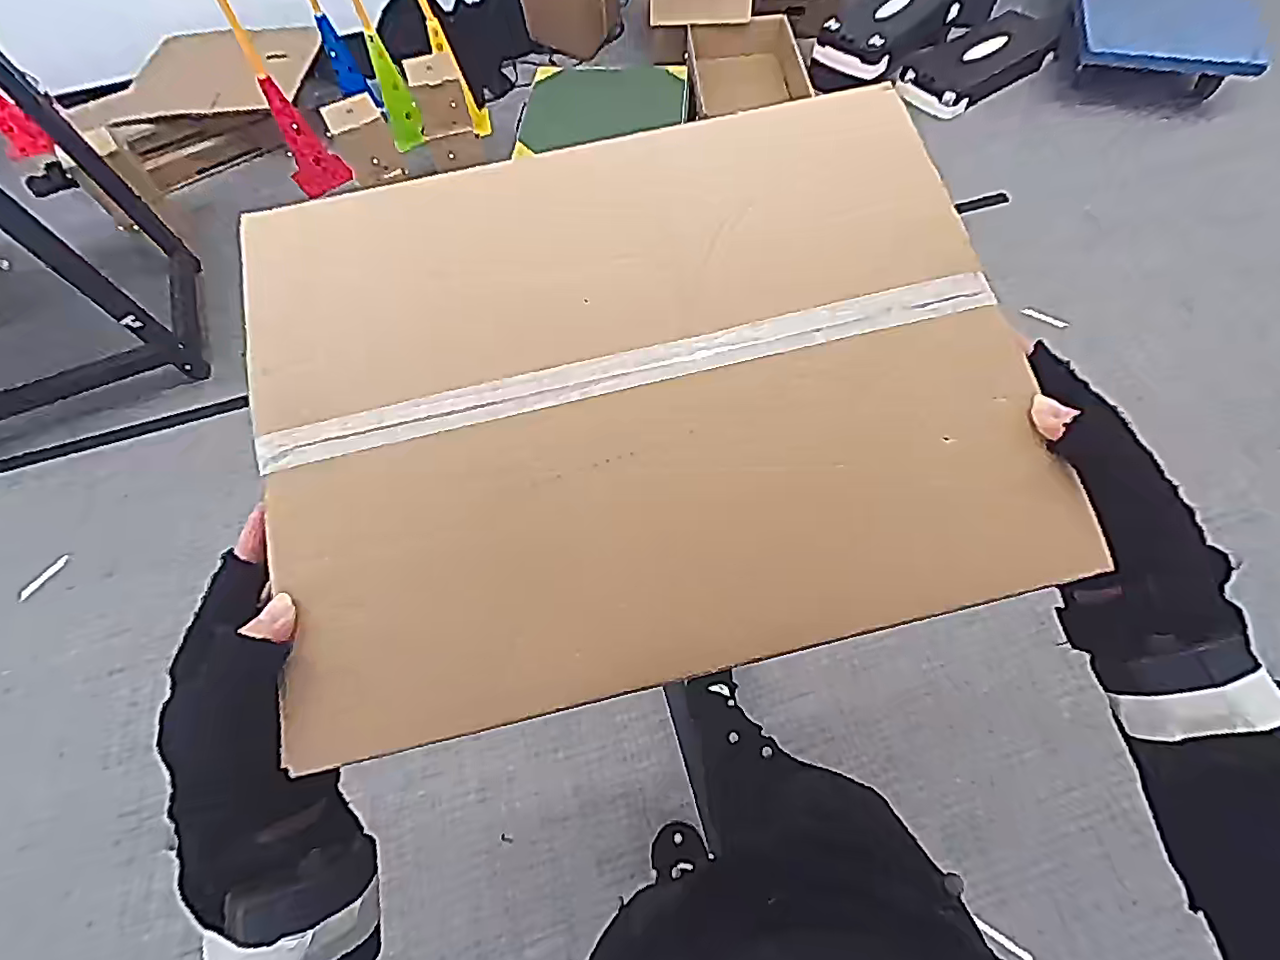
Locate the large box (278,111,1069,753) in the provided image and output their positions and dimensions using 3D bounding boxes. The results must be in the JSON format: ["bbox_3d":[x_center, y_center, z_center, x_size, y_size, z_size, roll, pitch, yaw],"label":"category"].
[{"bbox_3d":[0.001,-0.017,0.455,0.408,0.320,0.320,-14,76,-2],"label":"large box"}]
